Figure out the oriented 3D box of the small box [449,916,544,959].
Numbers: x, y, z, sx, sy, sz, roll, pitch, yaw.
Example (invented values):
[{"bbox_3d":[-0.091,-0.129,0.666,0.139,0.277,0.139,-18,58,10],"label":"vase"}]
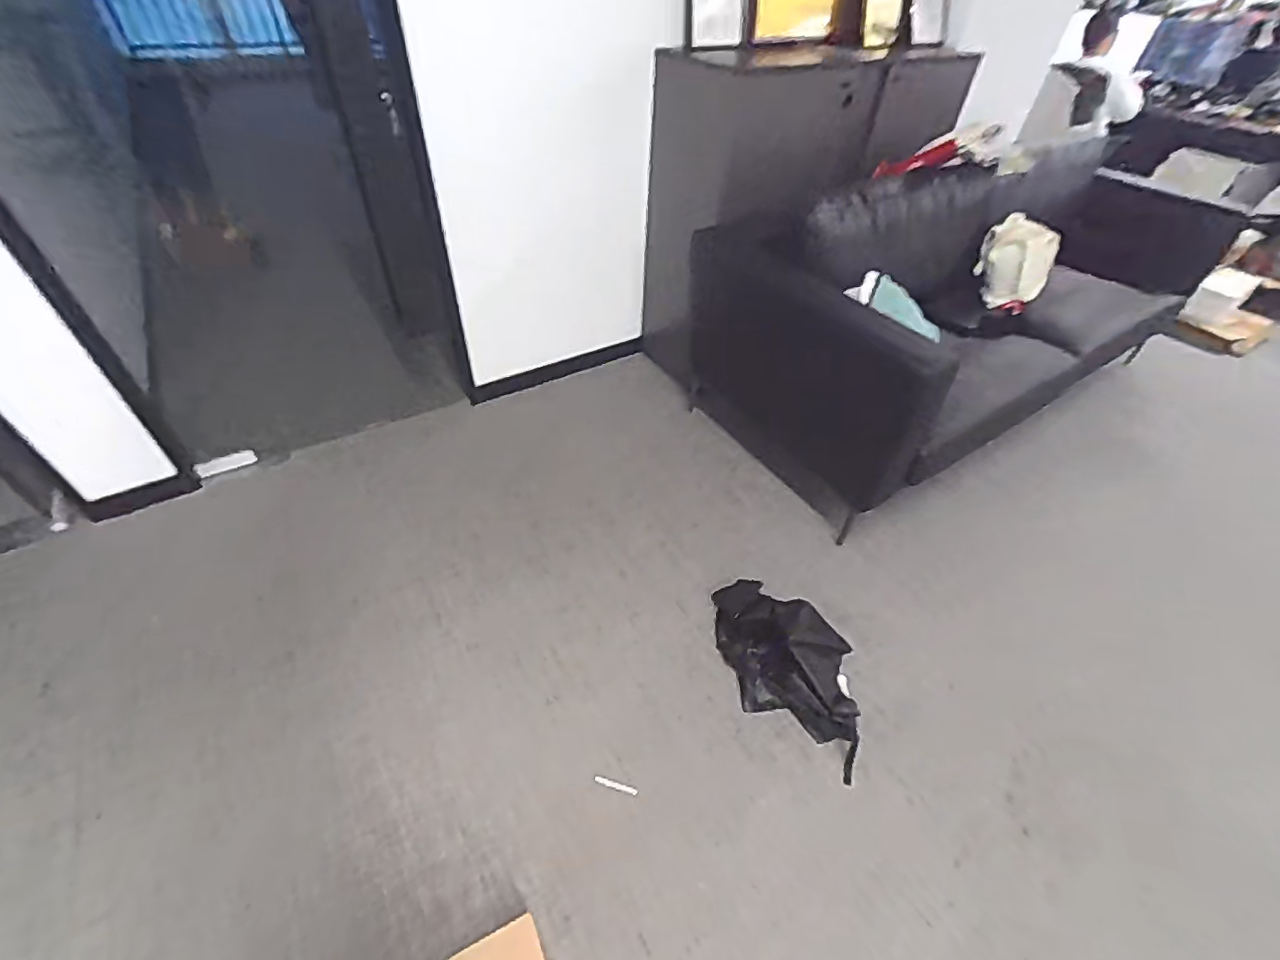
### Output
[{"bbox_3d":[-0.230,0.873,0.893,0.168,0.176,0.179,-17,48,-22],"label":"small box"}]
